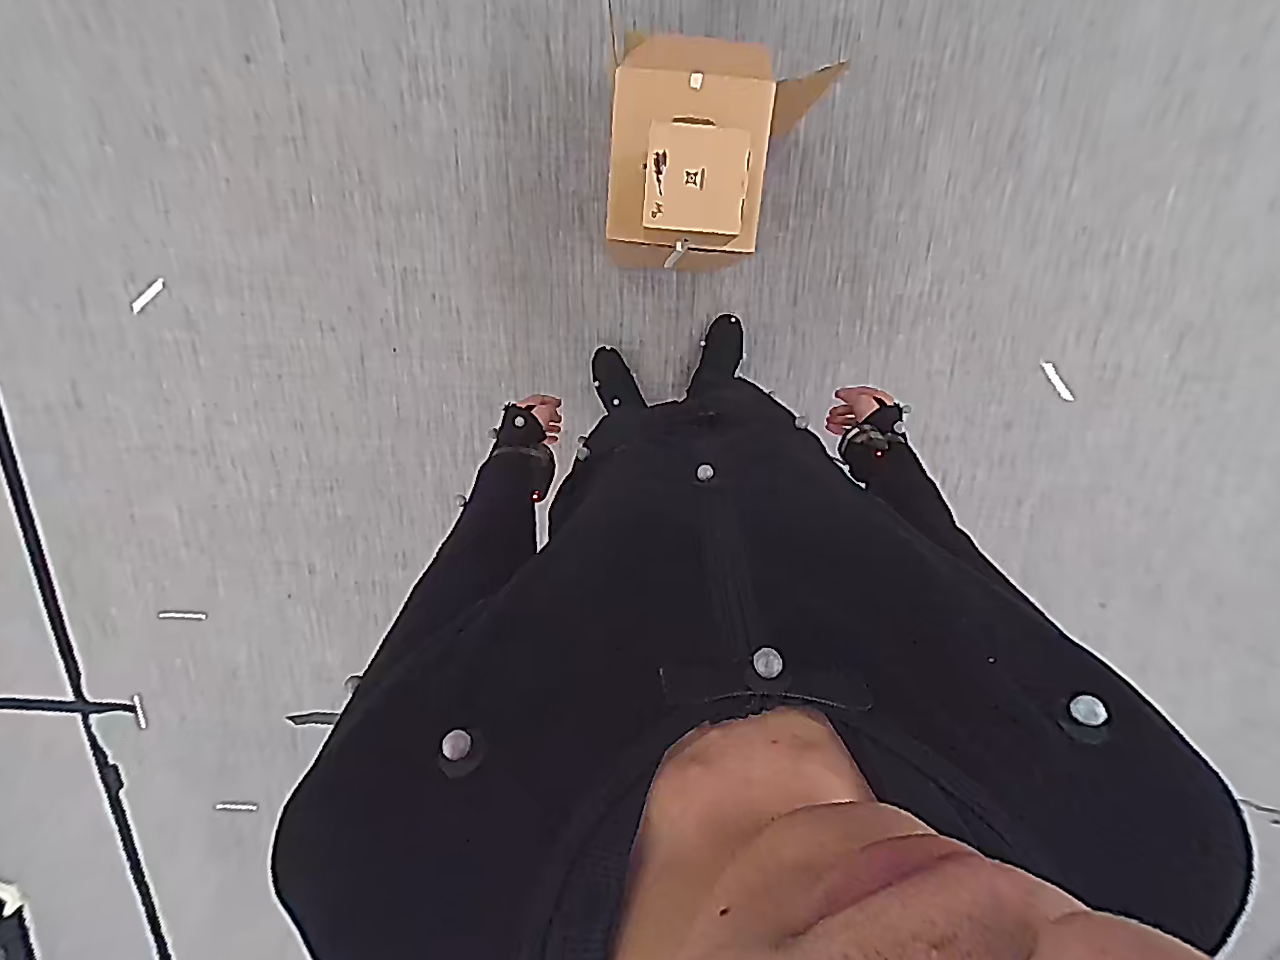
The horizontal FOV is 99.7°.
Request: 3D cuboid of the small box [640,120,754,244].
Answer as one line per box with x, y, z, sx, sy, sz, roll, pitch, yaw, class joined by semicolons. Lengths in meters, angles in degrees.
0.096;-0.538;0.999;0.179;0.176;0.168;4;108;-2;small box
